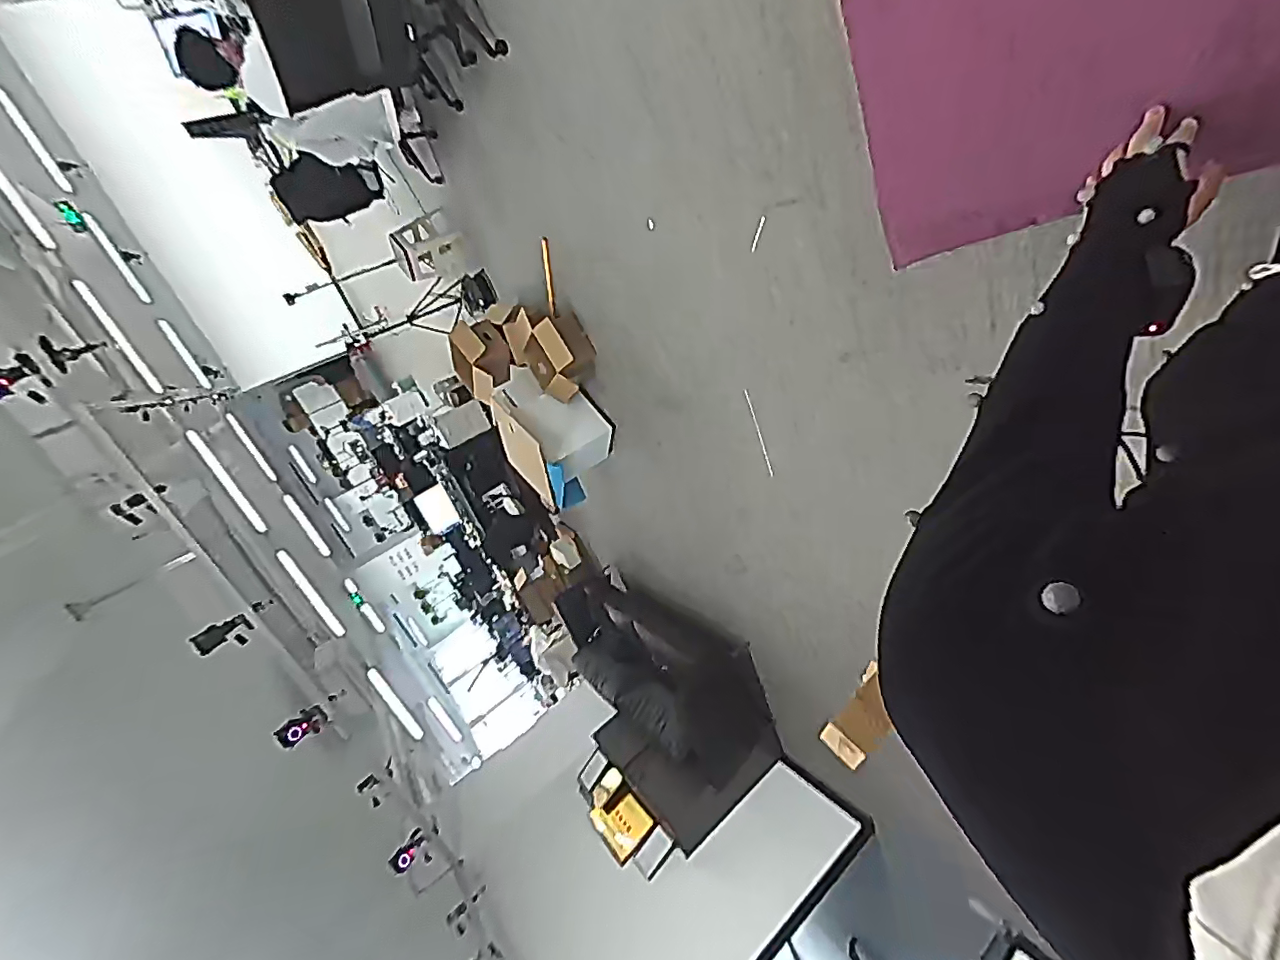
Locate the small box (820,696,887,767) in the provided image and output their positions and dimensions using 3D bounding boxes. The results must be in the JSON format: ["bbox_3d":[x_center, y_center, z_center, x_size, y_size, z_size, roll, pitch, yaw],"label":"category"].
[{"bbox_3d":[0.853,0.997,2.156,0.168,0.176,0.179,41,151,31],"label":"small box"}]

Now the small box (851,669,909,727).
[{"bbox_3d":[0.976,0.920,2.231,0.168,0.176,0.179,40,149,31],"label":"small box"}]
